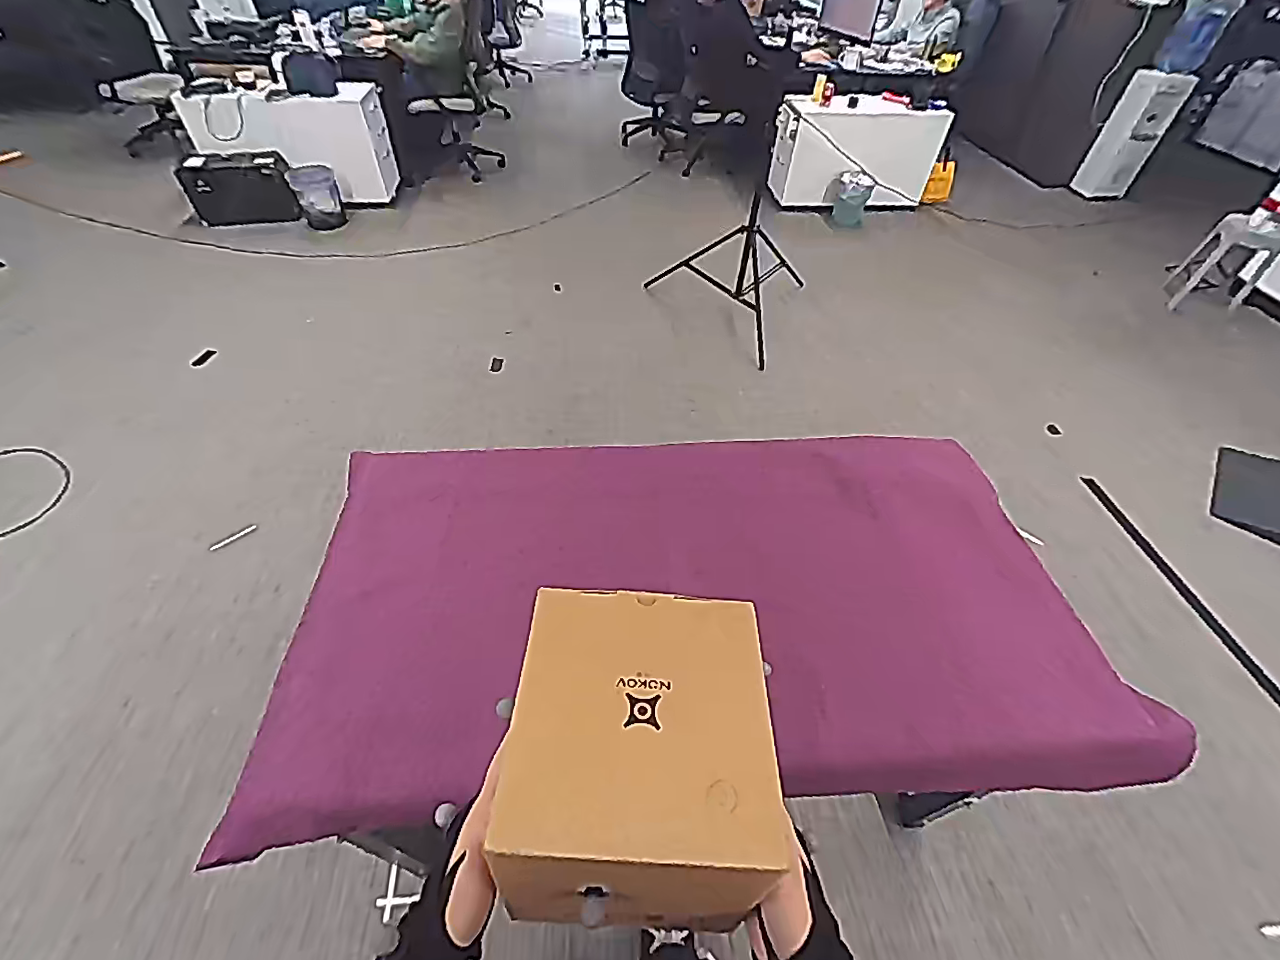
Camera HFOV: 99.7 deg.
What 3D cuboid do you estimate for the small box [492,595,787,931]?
[{"bbox_3d":[-0.001,0.211,0.406,0.168,0.176,0.179,4,40,-1],"label":"small box"}]
